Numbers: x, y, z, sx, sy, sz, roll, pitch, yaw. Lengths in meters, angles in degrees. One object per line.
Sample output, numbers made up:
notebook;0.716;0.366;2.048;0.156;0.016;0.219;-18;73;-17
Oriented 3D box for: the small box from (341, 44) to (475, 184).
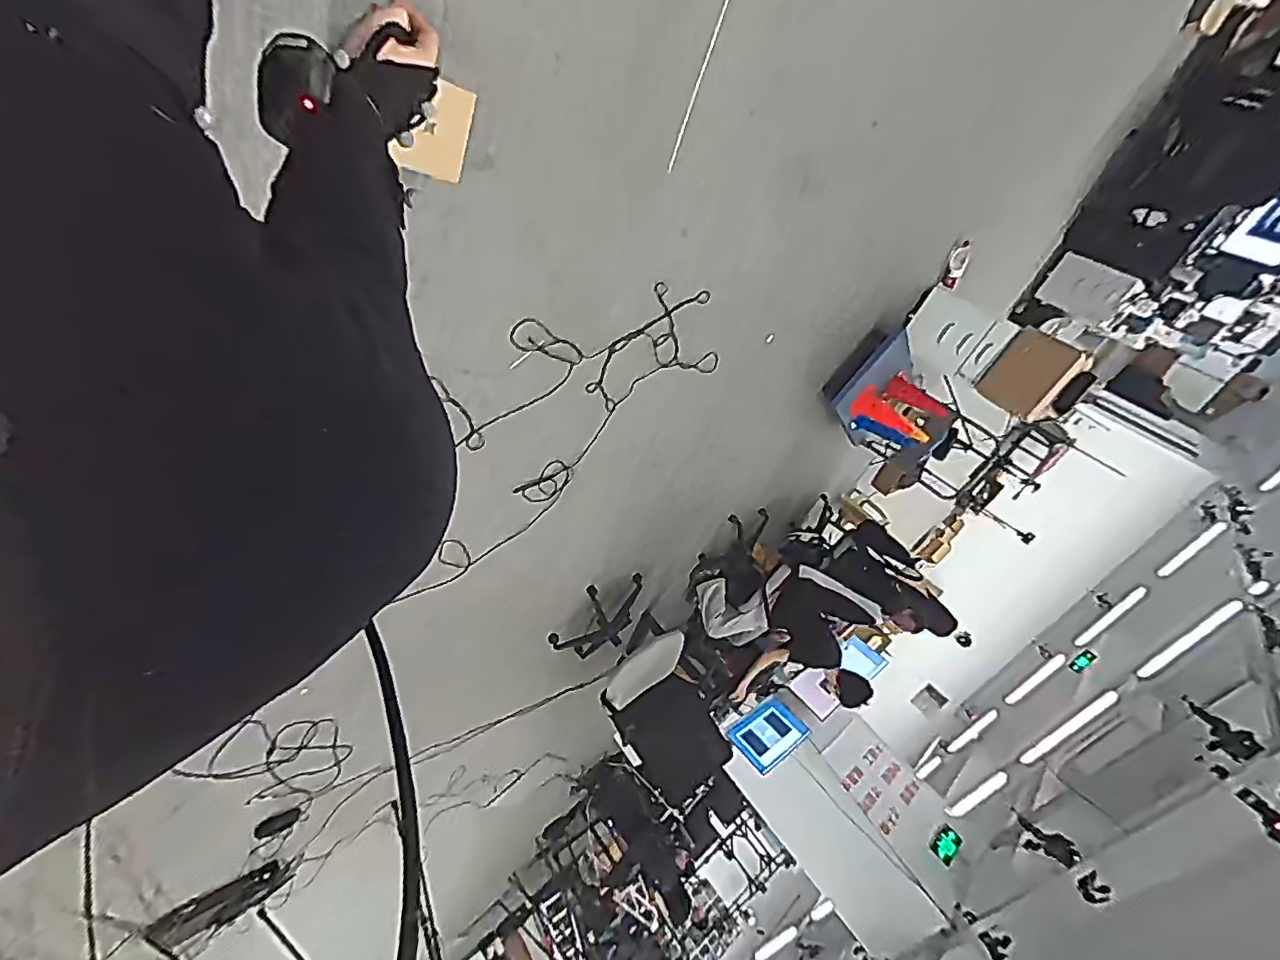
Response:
small box;-0.457;-0.715;1.061;0.179;0.176;0.168;-8;132;-46
